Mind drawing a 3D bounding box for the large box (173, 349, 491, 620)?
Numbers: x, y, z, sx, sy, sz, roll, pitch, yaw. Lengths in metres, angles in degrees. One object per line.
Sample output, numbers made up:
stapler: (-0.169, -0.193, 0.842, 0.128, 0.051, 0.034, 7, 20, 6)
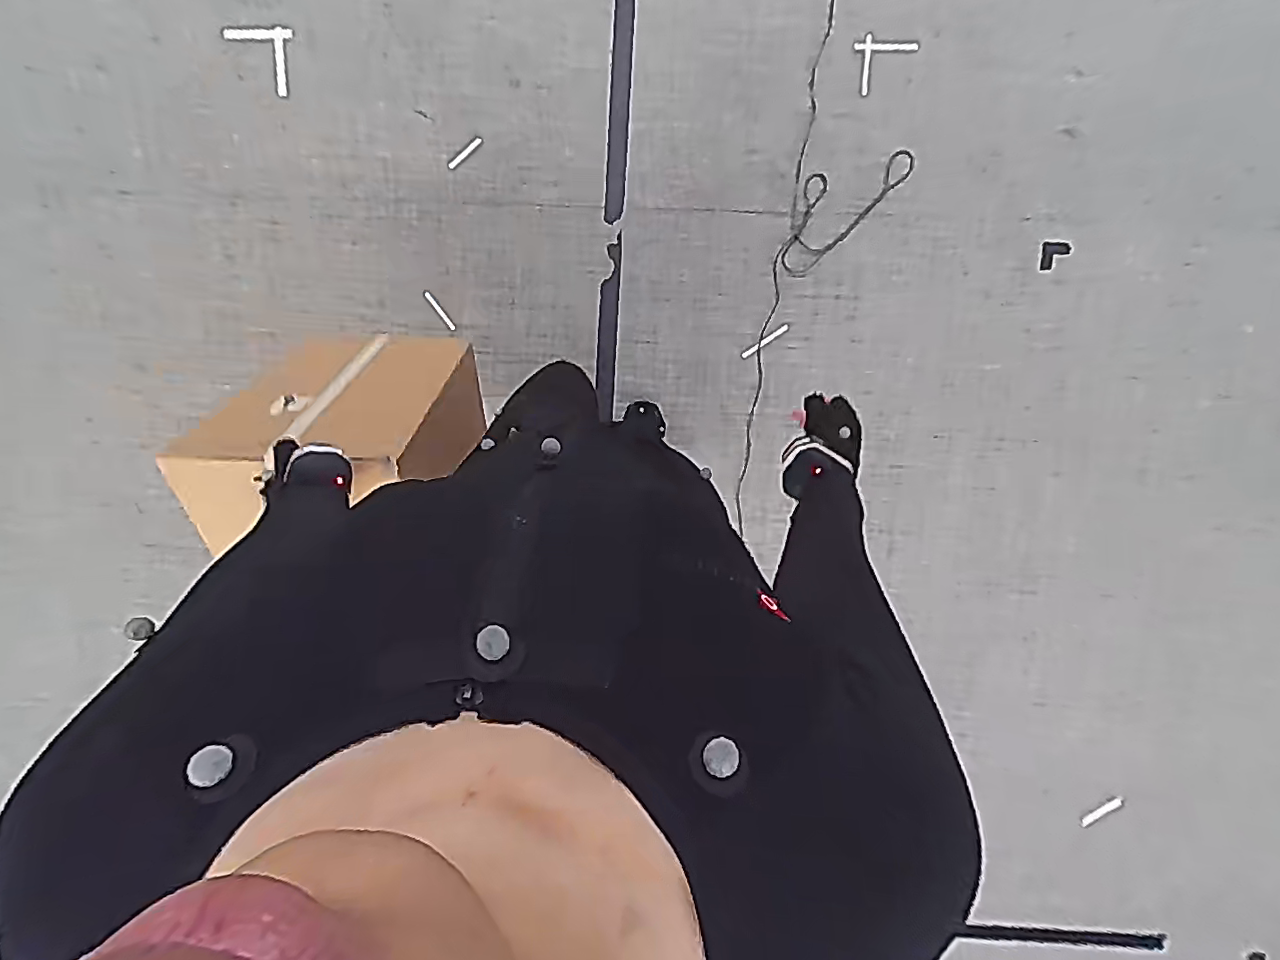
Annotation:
large box: (-0.474, -0.008, 0.961, 0.320, 0.408, 0.320, -1, 126, 0)
